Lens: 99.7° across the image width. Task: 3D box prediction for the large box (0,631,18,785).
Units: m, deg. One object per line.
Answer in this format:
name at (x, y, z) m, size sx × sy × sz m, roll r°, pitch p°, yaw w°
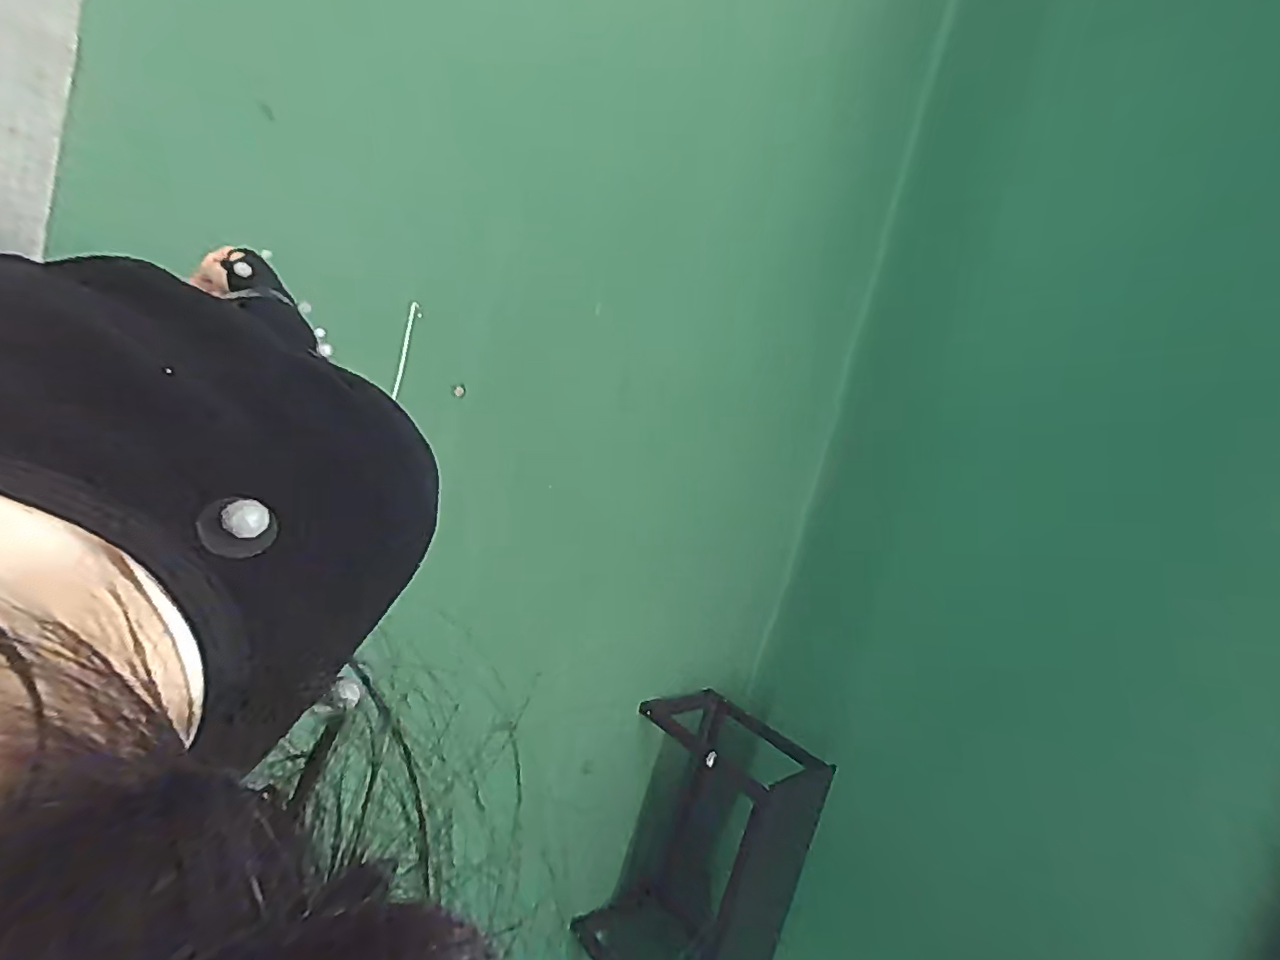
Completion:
large box at (-1.306, 0.362, 0.836) m, size 0.408 × 0.320 × 0.320 m, roll -11°, pitch 113°, yaw -44°
